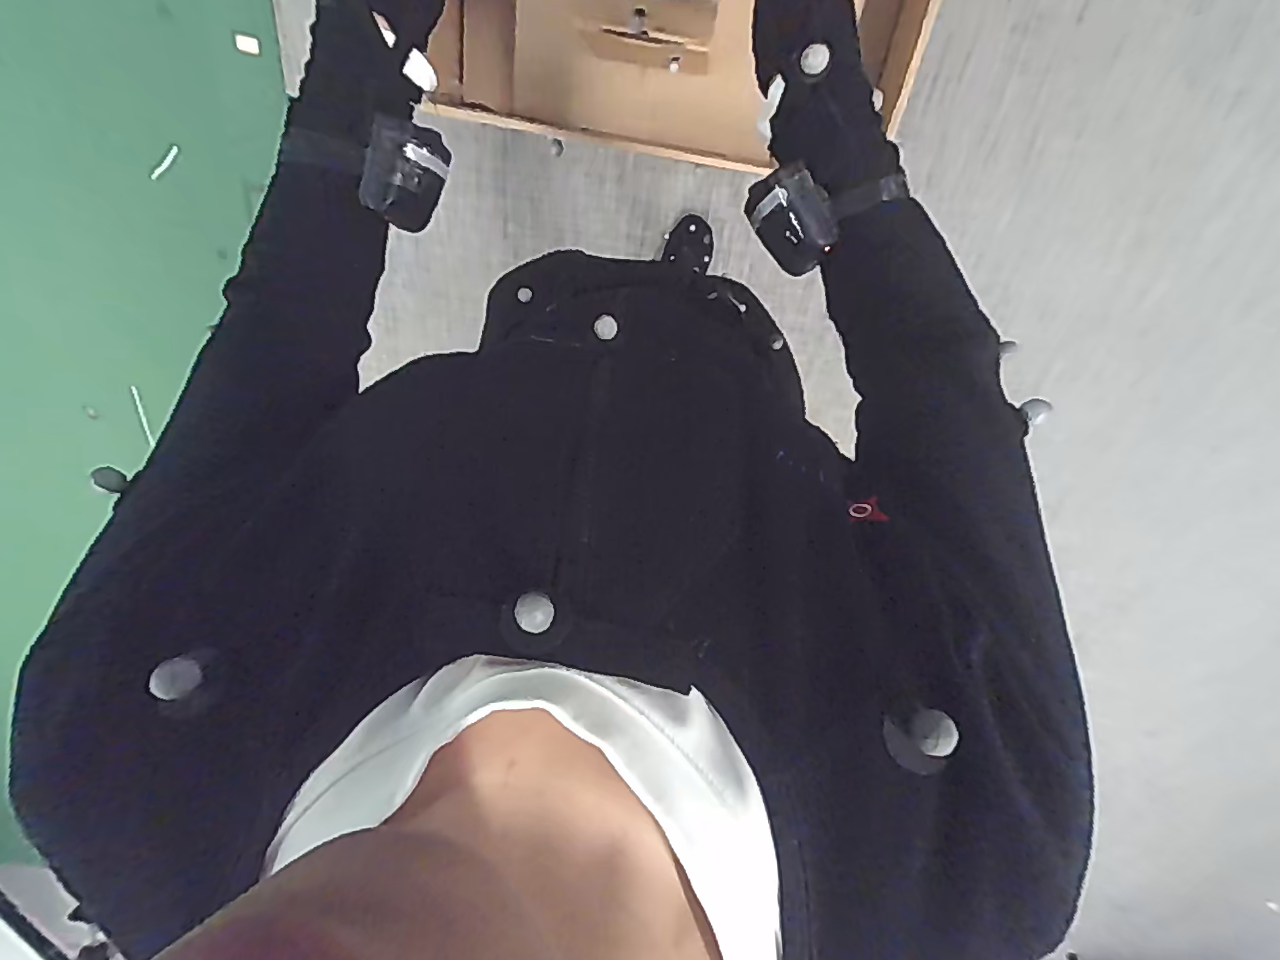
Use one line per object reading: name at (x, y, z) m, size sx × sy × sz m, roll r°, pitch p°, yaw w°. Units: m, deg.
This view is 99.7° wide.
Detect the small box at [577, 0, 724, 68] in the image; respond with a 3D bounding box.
small box at (0.026, -0.631, 0.658) m, size 0.168 × 0.176 × 0.179 m, roll 10°, pitch 118°, yaw 0°

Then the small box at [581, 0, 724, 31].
small box at (0.014, -0.559, 0.511) m, size 0.168 × 0.176 × 0.179 m, roll 10°, pitch 120°, yaw 0°
